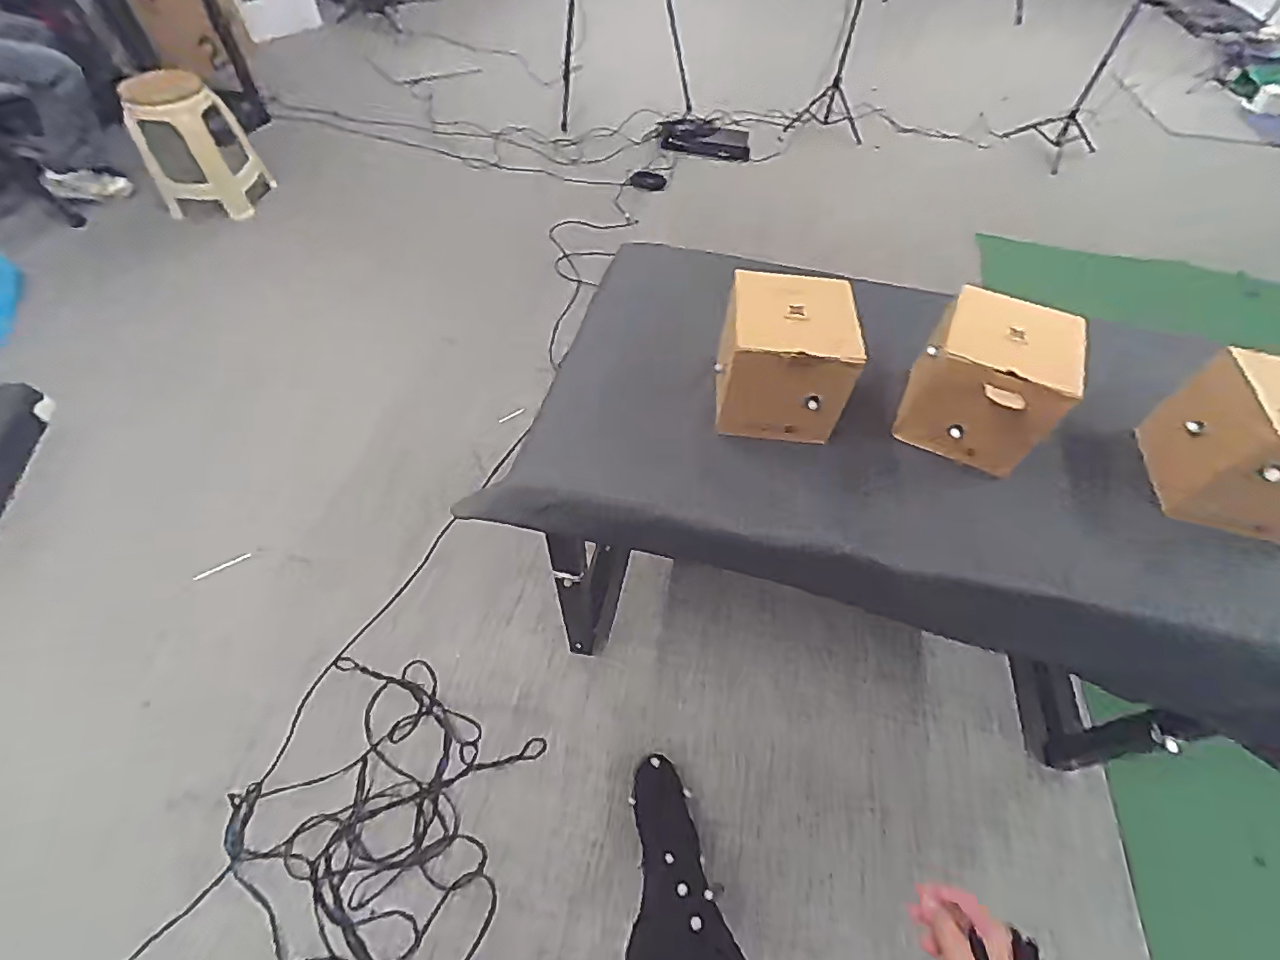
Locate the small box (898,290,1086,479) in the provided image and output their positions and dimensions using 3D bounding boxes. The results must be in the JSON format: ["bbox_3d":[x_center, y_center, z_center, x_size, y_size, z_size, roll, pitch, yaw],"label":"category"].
[{"bbox_3d":[0.500,-0.136,0.784,0.168,0.176,0.179,24,57,14],"label":"small box"}]

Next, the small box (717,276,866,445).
[{"bbox_3d":[0.209,-0.171,0.794,0.168,0.176,0.179,6,52,0],"label":"small box"}]
